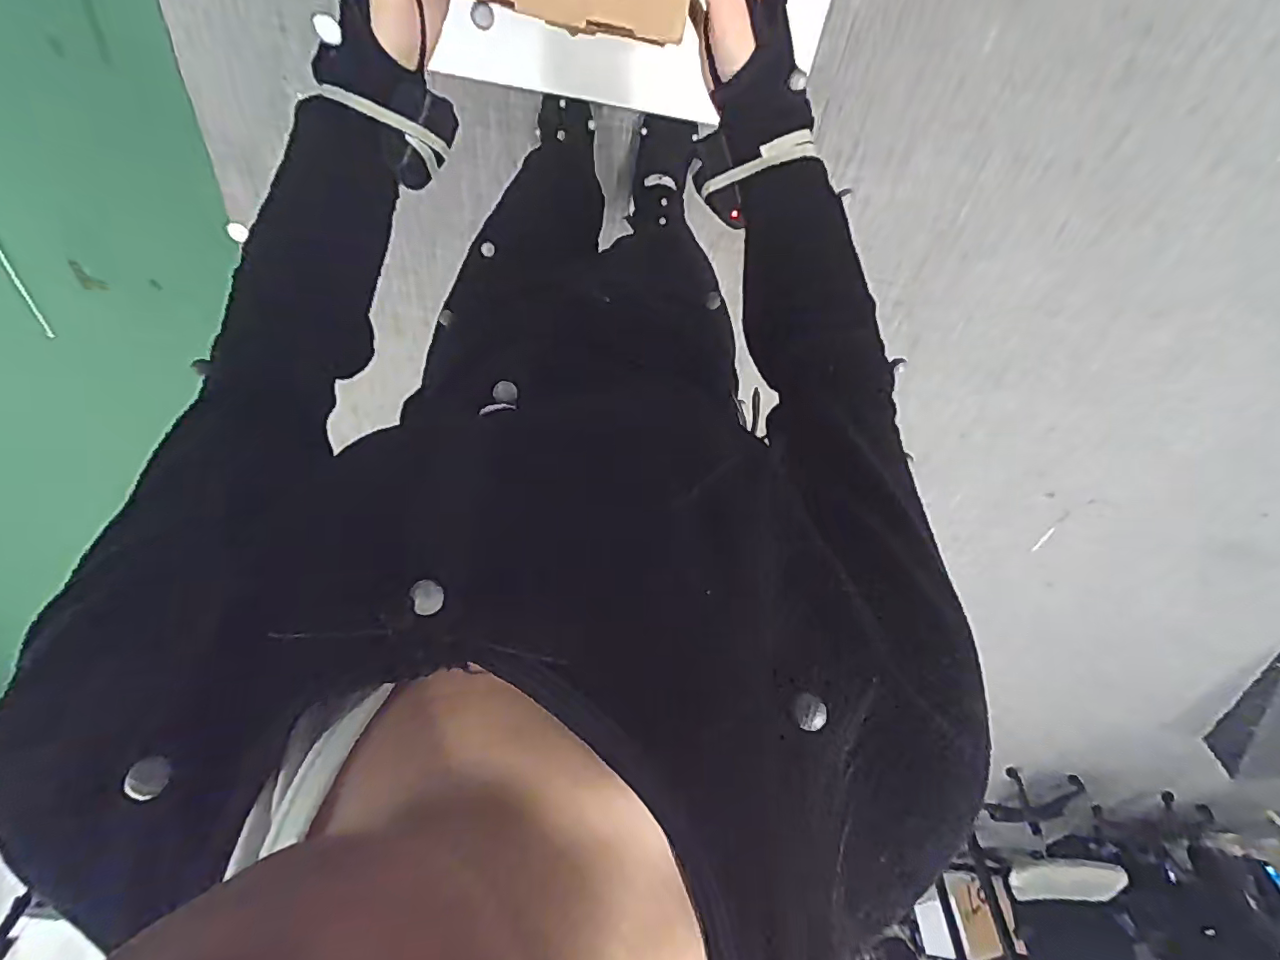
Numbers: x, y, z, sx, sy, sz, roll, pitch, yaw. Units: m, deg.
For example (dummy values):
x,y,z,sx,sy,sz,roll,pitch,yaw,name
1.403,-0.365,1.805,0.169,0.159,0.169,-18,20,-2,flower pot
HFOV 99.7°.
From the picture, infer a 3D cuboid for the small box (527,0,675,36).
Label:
x,y,z,sx,sy,sz,roll,pitch,yaw,name
-0.036,-0.503,0.453,0.168,0.176,0.179,11,130,-5,small box
